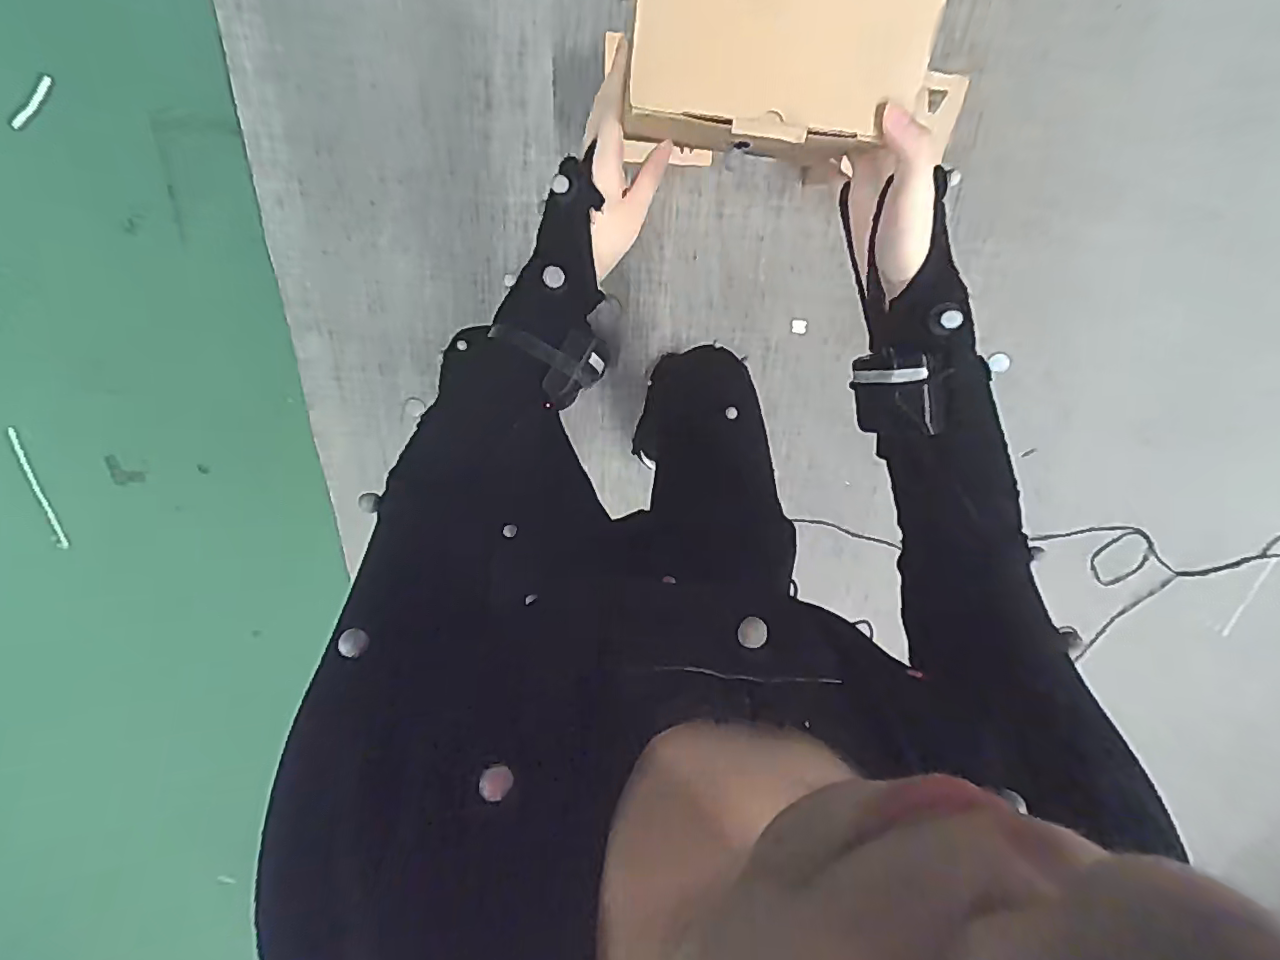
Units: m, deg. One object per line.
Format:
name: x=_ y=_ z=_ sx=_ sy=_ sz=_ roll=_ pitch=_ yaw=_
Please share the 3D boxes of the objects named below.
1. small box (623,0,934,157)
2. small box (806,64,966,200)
small box: x=0.077 y=-0.319 z=0.350 sx=0.168 sy=0.176 sz=0.179 roll=3 pitch=118 yaw=-6
small box: x=0.407 y=-0.594 z=0.931 sx=0.168 sy=0.176 sz=0.179 roll=7 pitch=117 yaw=-7
